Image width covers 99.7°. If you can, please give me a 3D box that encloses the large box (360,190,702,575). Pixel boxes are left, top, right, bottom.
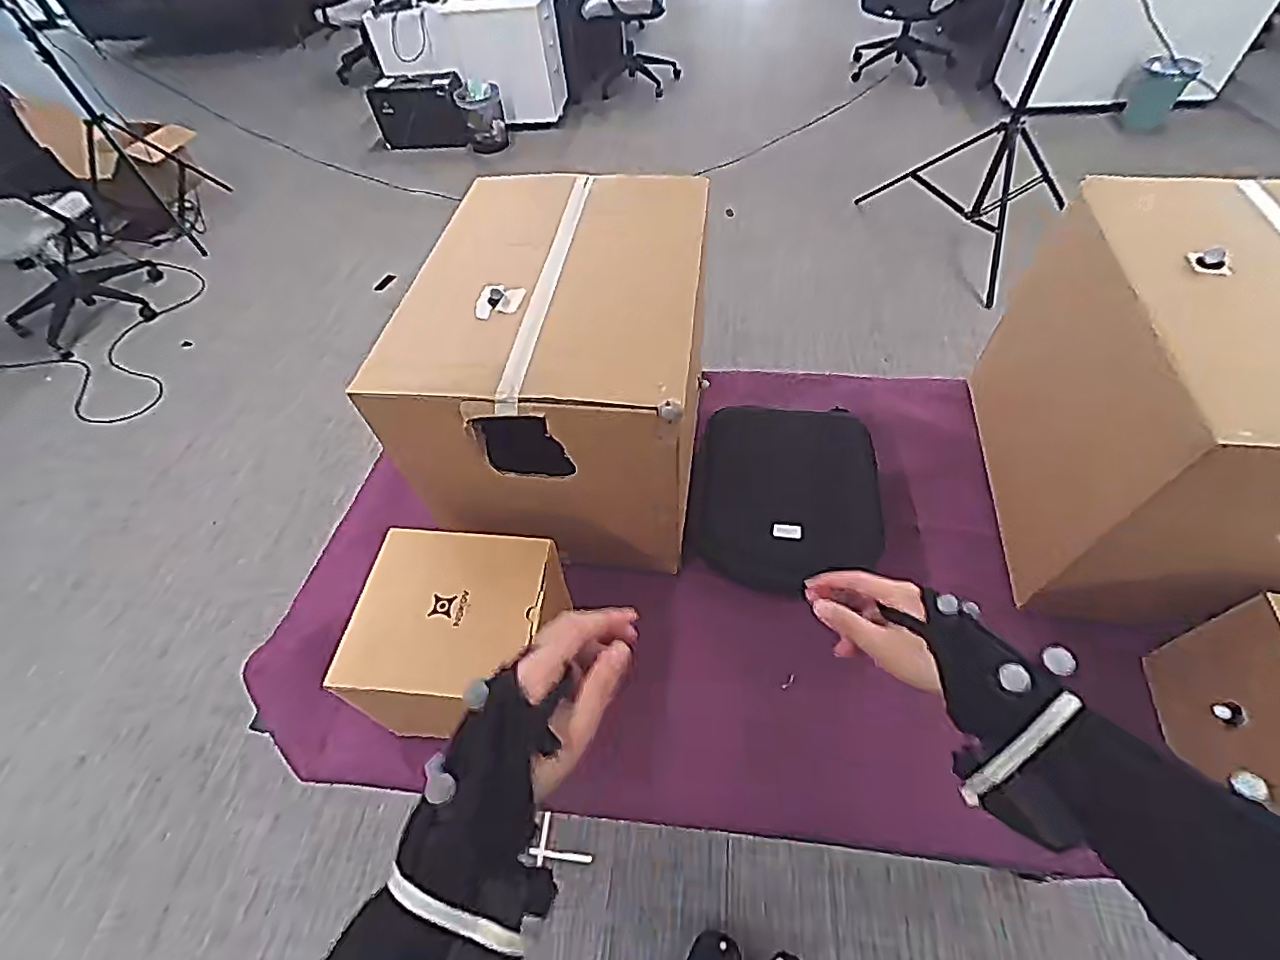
[{"bbox_3d":[-0.085,-0.129,0.722,0.320,0.320,0.408,3,56,7],"label":"large box"}]

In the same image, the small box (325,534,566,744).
[{"bbox_3d":[-0.187,0.175,0.584,0.179,0.176,0.168,3,52,3],"label":"small box"}]
